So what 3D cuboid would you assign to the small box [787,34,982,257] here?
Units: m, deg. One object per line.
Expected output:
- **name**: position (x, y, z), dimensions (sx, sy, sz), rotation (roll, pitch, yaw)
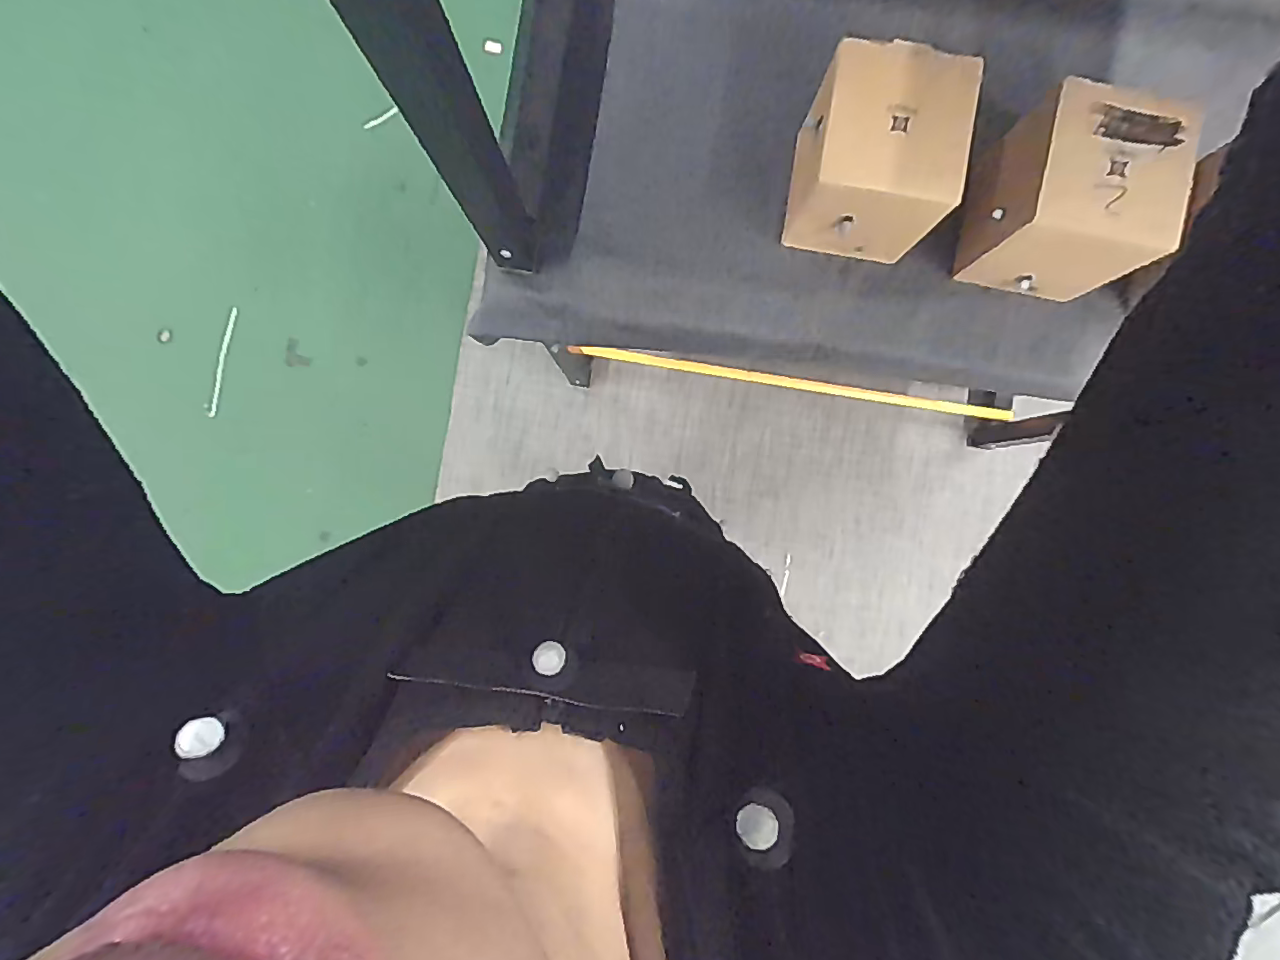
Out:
- **small box**: position (0.299, -0.414, 0.700), dimensions (0.168, 0.176, 0.179), rotation (10, 88, 1)
